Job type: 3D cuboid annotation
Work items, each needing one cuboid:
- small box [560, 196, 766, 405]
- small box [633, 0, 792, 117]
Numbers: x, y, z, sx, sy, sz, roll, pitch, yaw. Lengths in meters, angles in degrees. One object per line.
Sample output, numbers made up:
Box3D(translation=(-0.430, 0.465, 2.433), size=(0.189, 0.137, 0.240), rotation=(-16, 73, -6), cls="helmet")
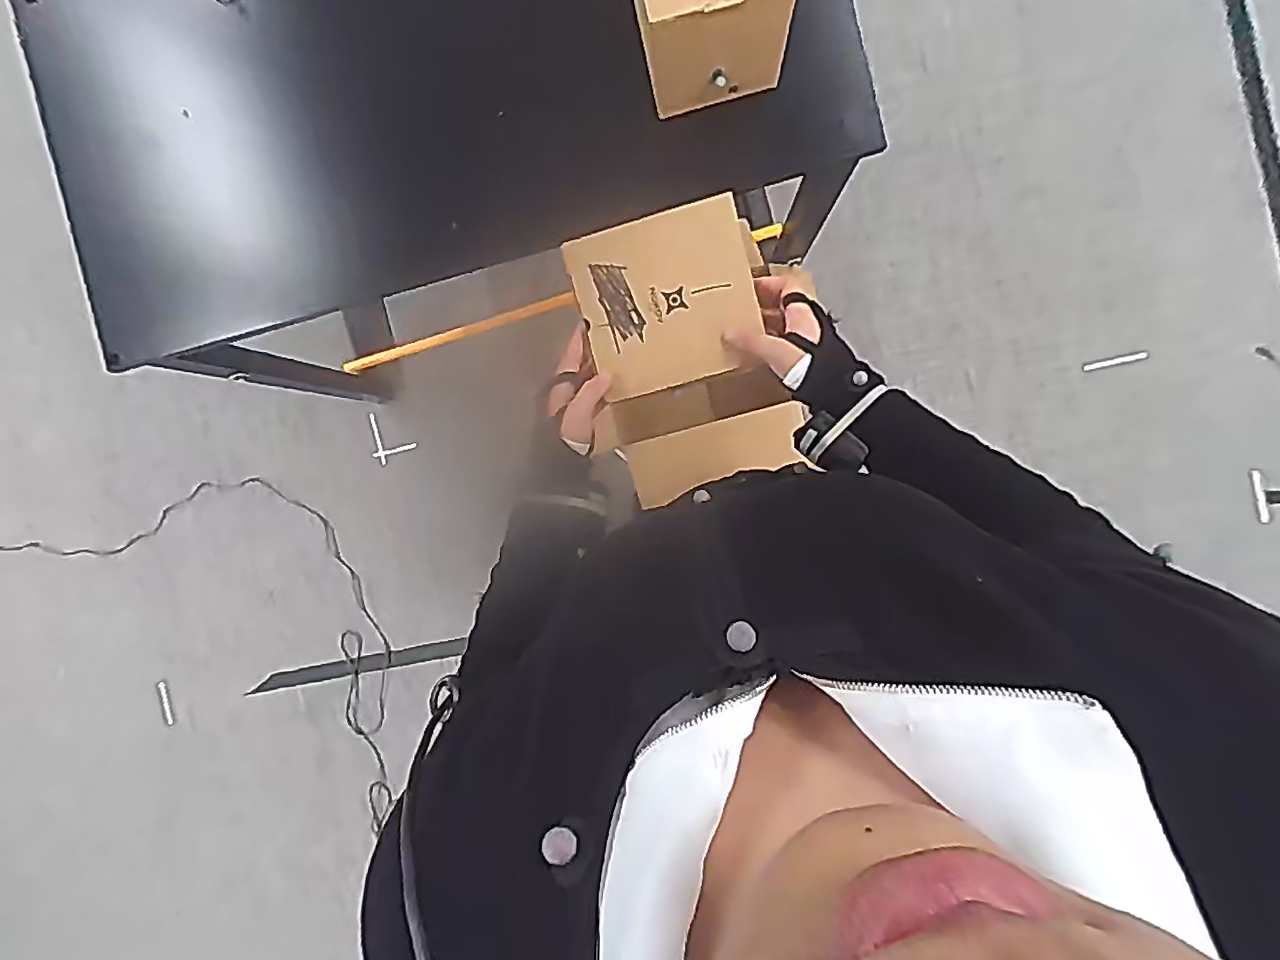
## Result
Box3D(translation=(0.028, -0.183, 0.612), size=(0.179, 0.176, 0.168), rotation=(-15, 96, 5), cls="small box")
Box3D(translation=(0.077, -0.598, 0.662), size=(0.168, 0.176, 0.179), rotation=(-12, 91, 6), cls="small box")
